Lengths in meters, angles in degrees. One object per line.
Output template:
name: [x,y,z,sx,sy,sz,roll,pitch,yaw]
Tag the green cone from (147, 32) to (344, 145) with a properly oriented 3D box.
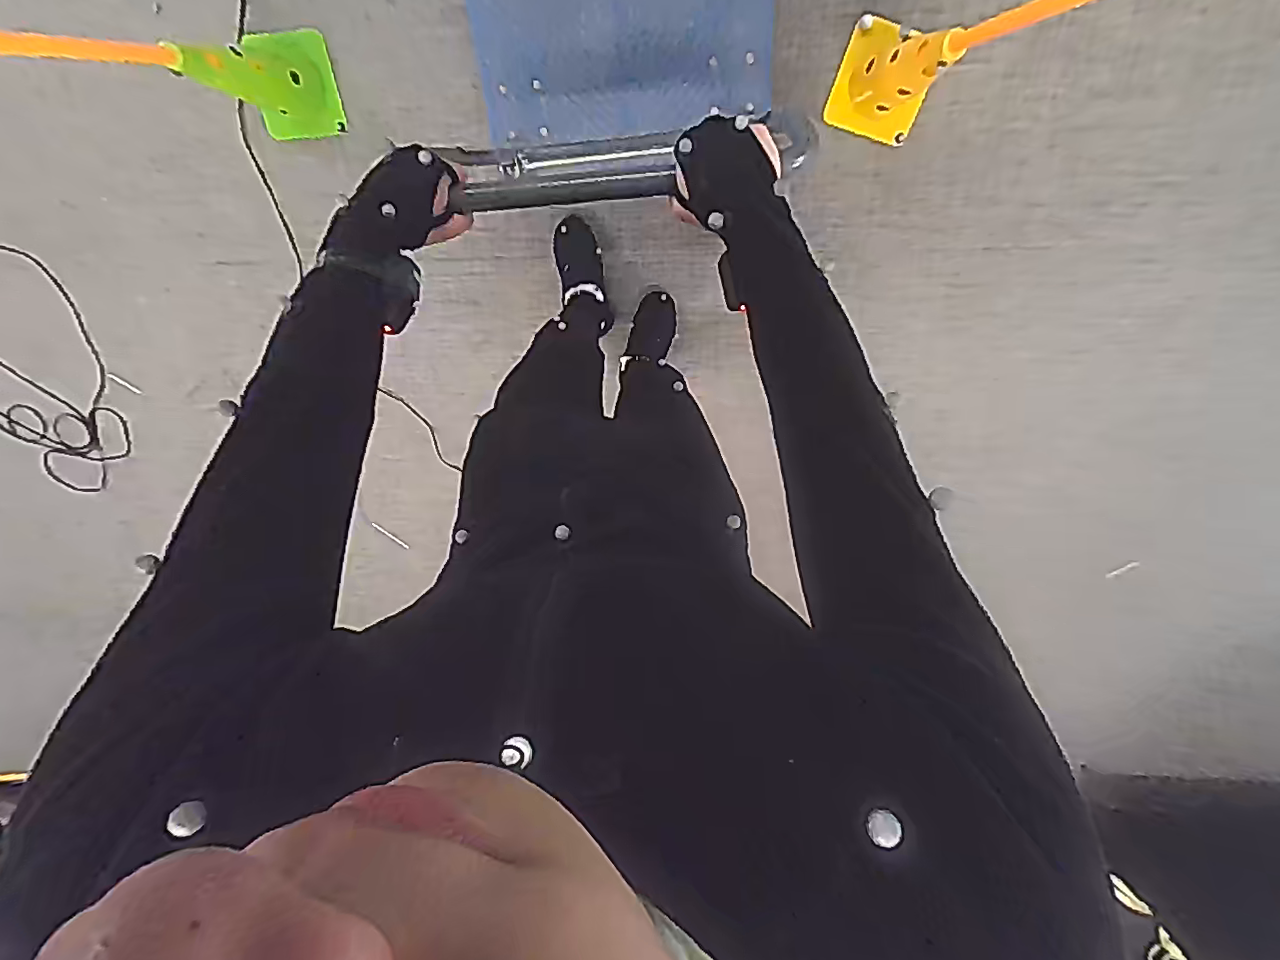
green cone: [-0.816,-0.817,1.093,0.202,0.368,0.200,-2,118,7]
